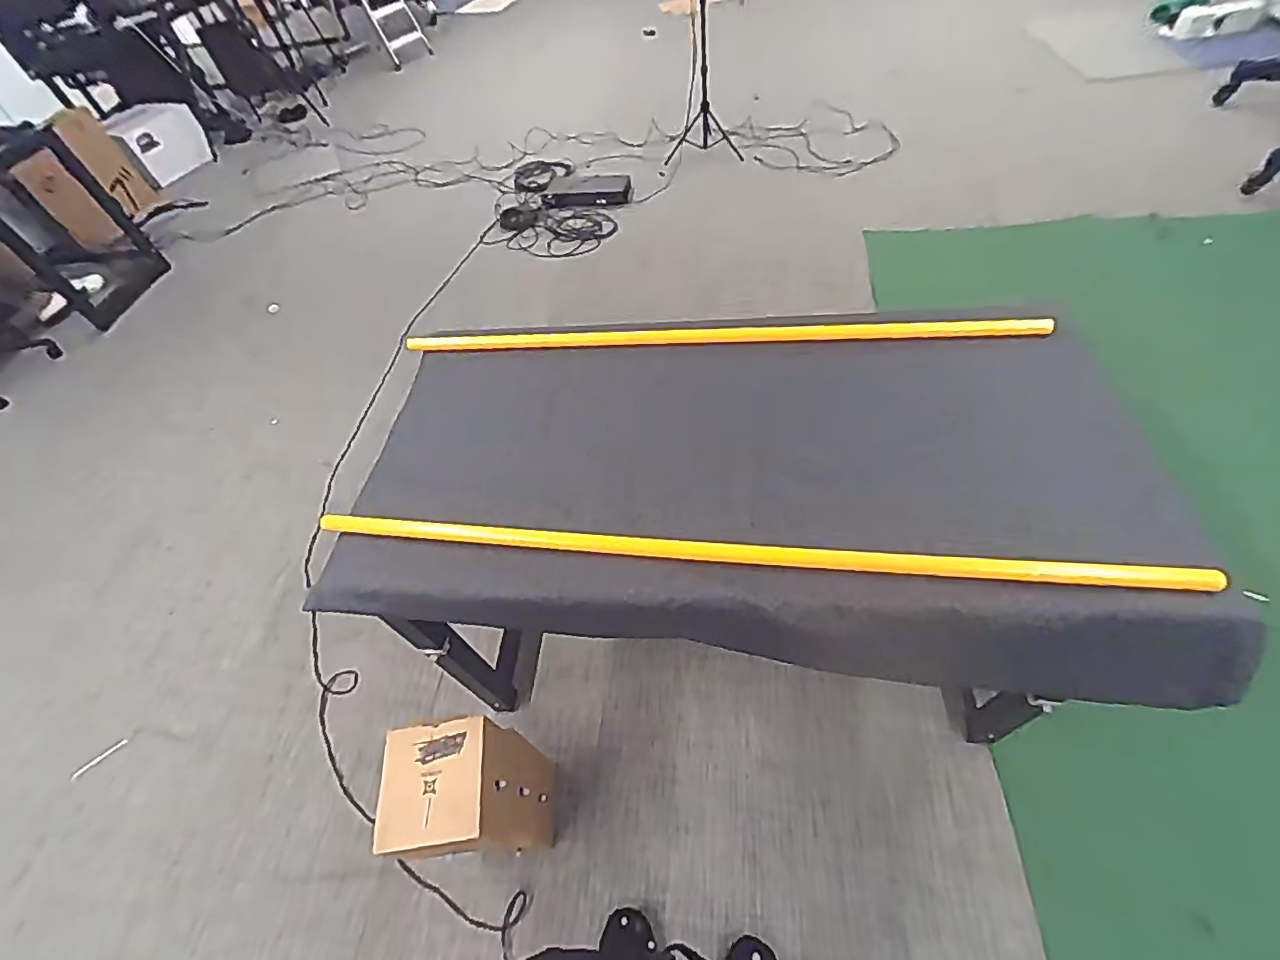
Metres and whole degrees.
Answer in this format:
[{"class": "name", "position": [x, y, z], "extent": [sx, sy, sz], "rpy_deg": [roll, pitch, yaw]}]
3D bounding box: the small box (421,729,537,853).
[{"class": "small box", "position": [-0.306, 0.611, 1.055], "extent": [0.168, 0.176, 0.179], "rpy_deg": [-14, 52, 0]}]
